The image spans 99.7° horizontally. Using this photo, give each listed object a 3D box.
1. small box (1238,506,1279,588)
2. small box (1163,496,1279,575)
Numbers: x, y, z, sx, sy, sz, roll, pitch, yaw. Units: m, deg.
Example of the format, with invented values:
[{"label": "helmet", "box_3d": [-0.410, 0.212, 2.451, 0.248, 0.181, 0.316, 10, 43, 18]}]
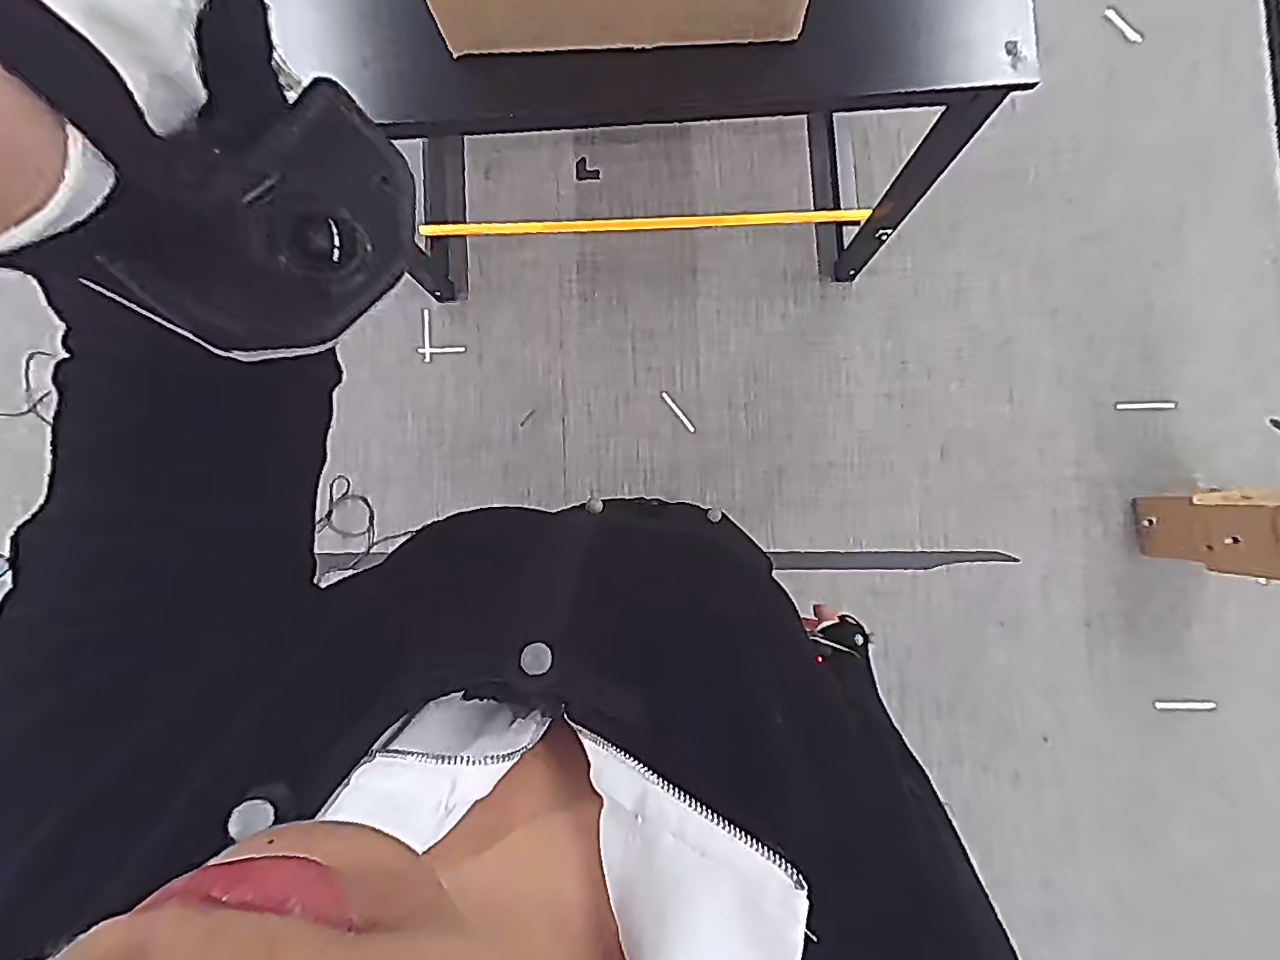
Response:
[{"label": "small box", "box_3d": [1.433, 0.139, 1.141, 0.179, 0.176, 0.168, -9, 87, 2]}, {"label": "small box", "box_3d": [1.438, 0.129, 1.305, 0.179, 0.176, 0.168, -8, 86, 3]}]
